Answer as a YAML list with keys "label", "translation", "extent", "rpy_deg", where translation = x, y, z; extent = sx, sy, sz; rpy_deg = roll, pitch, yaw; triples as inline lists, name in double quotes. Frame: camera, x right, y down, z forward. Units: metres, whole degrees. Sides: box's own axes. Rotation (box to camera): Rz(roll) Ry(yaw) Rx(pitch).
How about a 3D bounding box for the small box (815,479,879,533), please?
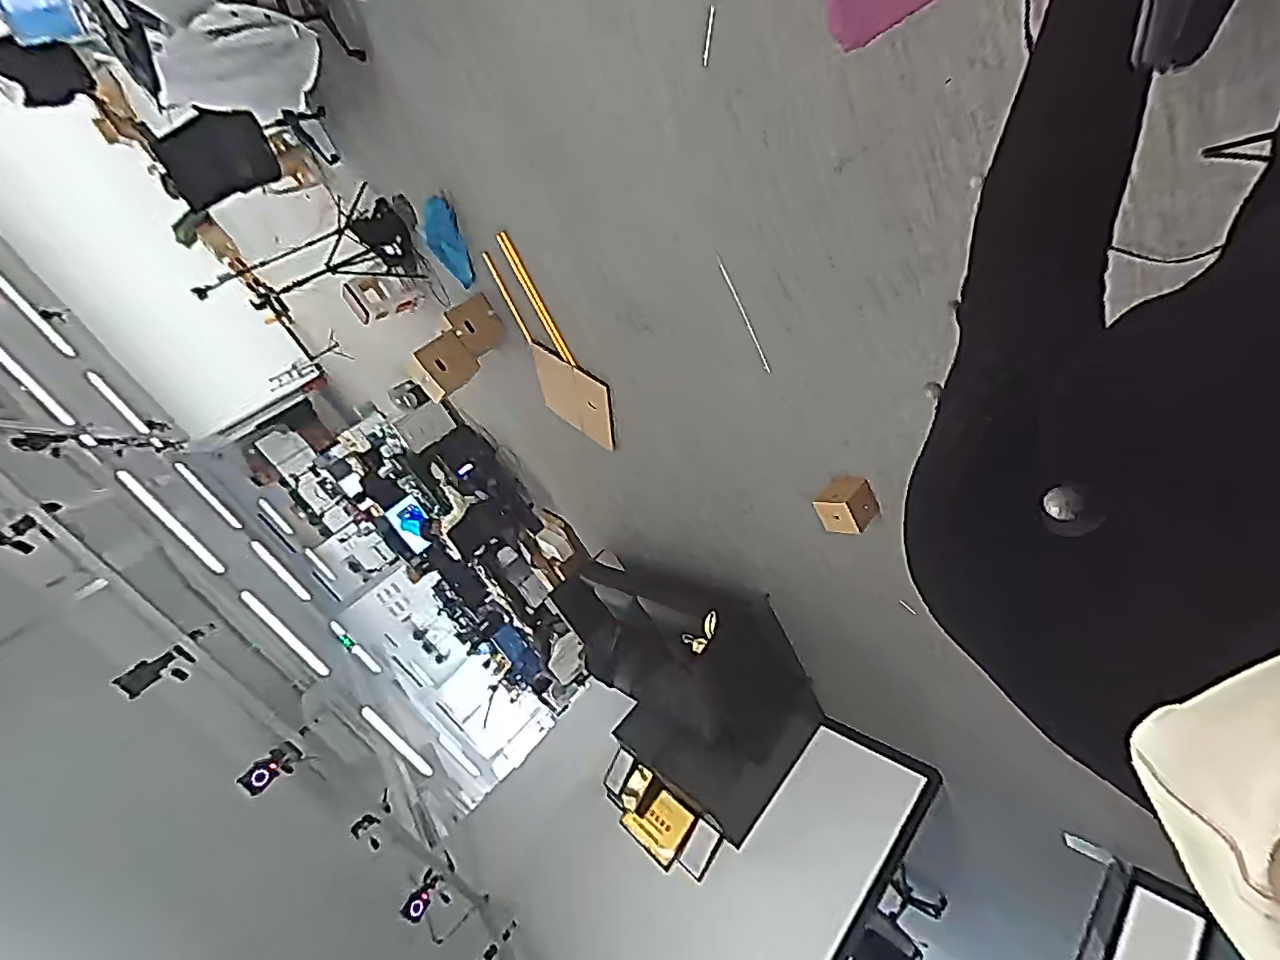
- label: "small box"
  translation: [0.892, 0.107, 2.306]
  extent: [0.179, 0.176, 0.168]
  rpy_deg: [0, 126, 58]
